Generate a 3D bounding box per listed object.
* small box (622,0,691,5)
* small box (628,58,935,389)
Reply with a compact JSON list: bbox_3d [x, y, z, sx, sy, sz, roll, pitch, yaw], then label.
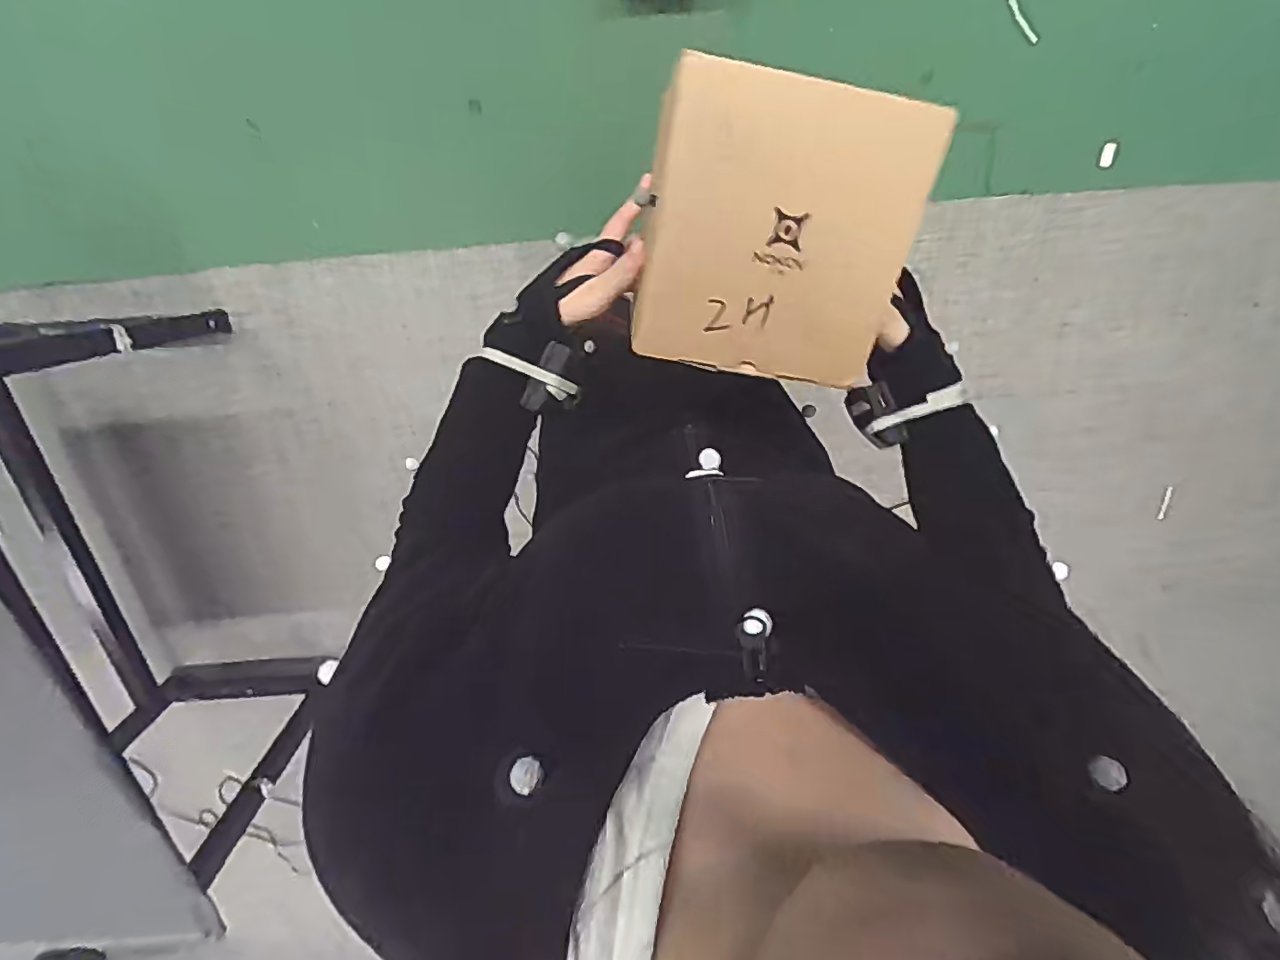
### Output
[{"bbox_3d":[0.029,-1.047,1.032,0.168,0.176,0.179,-4,111,0],"label":"small box"},{"bbox_3d":[0.082,-0.189,0.423,0.168,0.176,0.179,7,117,-5],"label":"small box"}]
